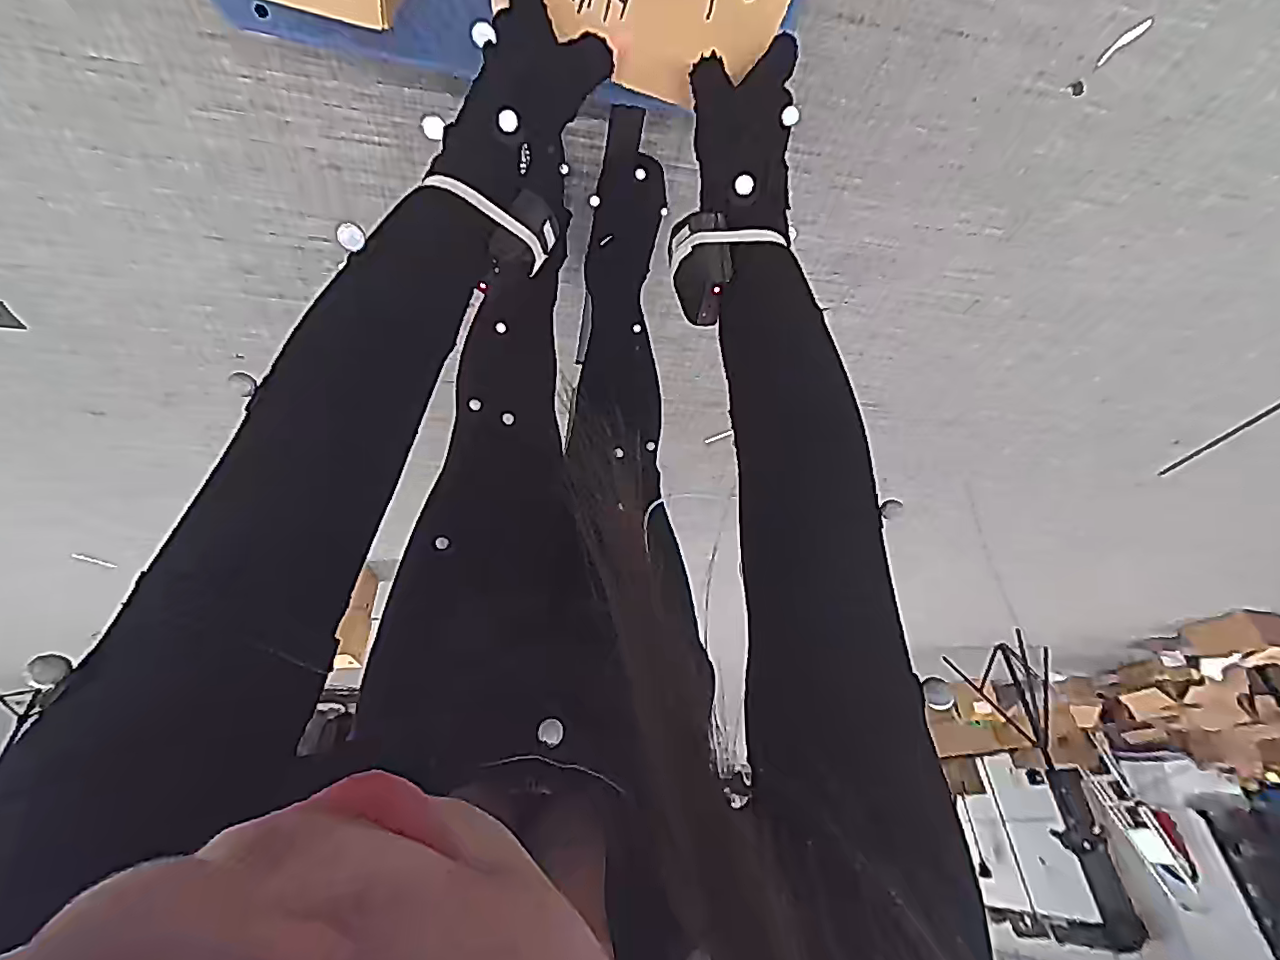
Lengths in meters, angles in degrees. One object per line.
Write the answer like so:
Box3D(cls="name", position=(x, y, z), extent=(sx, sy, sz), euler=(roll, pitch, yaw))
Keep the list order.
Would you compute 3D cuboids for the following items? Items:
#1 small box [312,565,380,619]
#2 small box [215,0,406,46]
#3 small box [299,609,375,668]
Box3D(cls="small box", position=(-1.100, 0.433, 2.041), extent=(0.168, 0.176, 0.179), euler=(3, 147, -9))
Box3D(cls="small box", position=(-0.260, -0.457, 0.380), extent=(0.179, 0.176, 0.168), euler=(7, 145, -13))
Box3D(cls="small box", position=(-1.088, 0.573, 1.955), extent=(0.179, 0.176, 0.168), euler=(3, 147, -8))
